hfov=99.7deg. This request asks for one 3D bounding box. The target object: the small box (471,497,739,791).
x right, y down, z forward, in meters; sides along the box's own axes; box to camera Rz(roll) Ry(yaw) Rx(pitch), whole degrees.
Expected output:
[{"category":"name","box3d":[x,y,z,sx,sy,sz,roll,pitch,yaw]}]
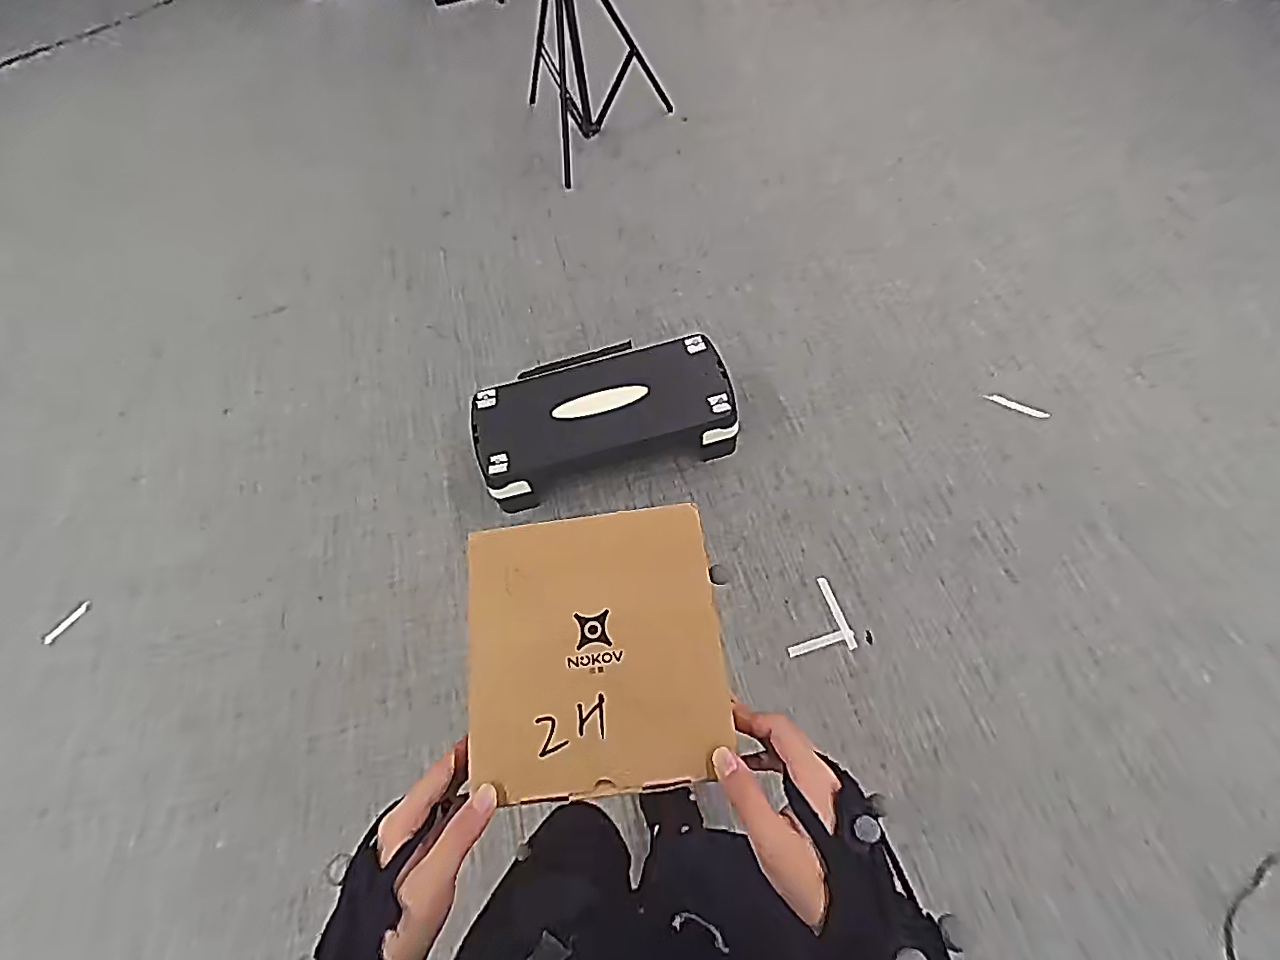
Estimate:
[{"category":"small box","box3d":[-0.024,0.131,0.430,0.168,0.176,0.179,-8,67,2]}]

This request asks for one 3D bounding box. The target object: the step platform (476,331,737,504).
[{"category":"step platform","box3d":[-0.089,-0.172,1.463,0.684,0.204,0.286,-16,63,-2]}]
